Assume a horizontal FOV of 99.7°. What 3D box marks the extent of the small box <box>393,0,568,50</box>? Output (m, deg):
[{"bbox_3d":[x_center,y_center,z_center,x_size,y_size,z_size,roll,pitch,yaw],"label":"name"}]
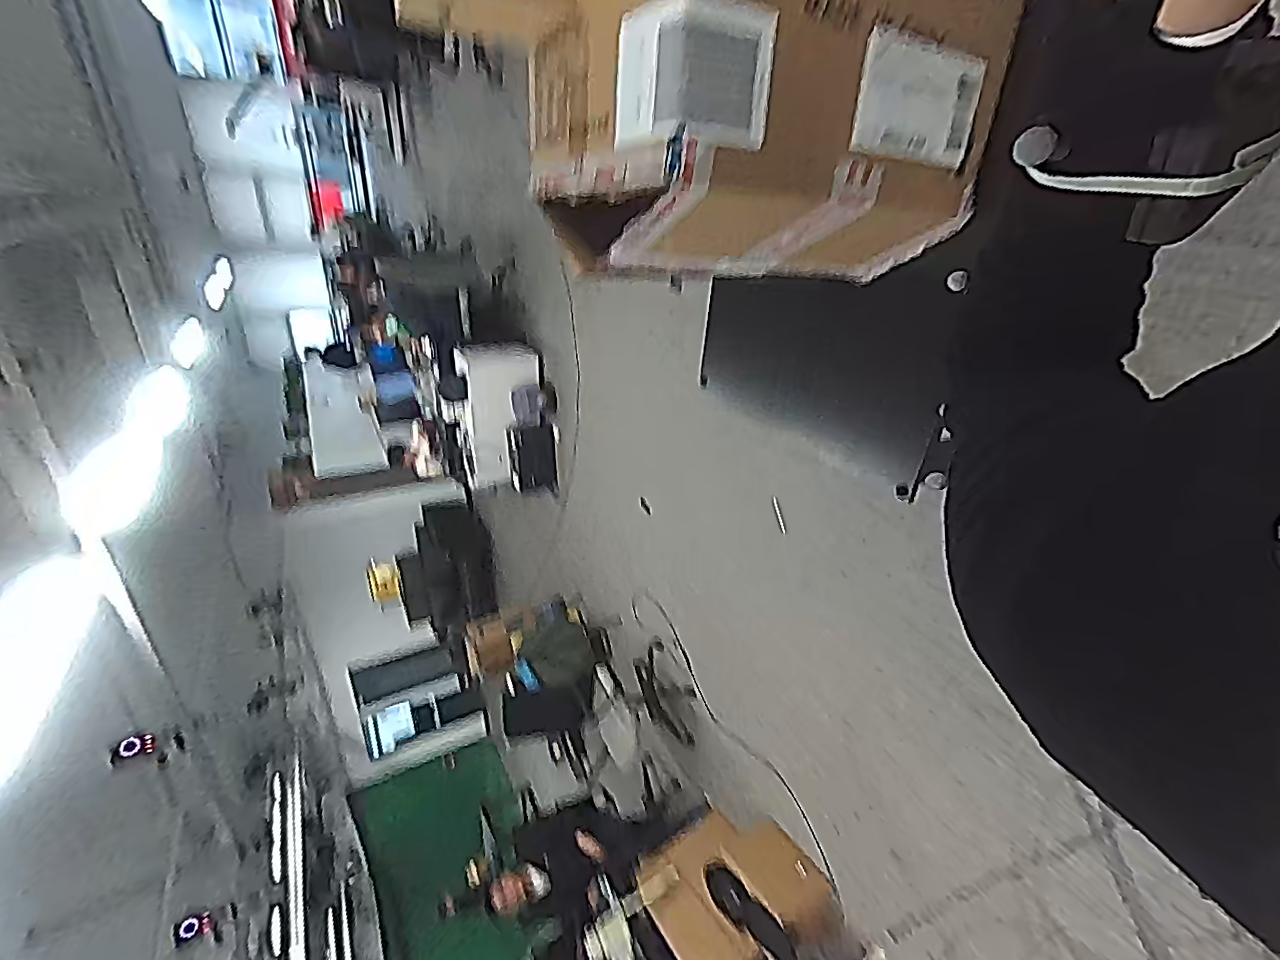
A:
[{"bbox_3d":[-0.183,-0.612,0.602,0.179,0.176,0.168,38,132,53],"label":"small box"}]
